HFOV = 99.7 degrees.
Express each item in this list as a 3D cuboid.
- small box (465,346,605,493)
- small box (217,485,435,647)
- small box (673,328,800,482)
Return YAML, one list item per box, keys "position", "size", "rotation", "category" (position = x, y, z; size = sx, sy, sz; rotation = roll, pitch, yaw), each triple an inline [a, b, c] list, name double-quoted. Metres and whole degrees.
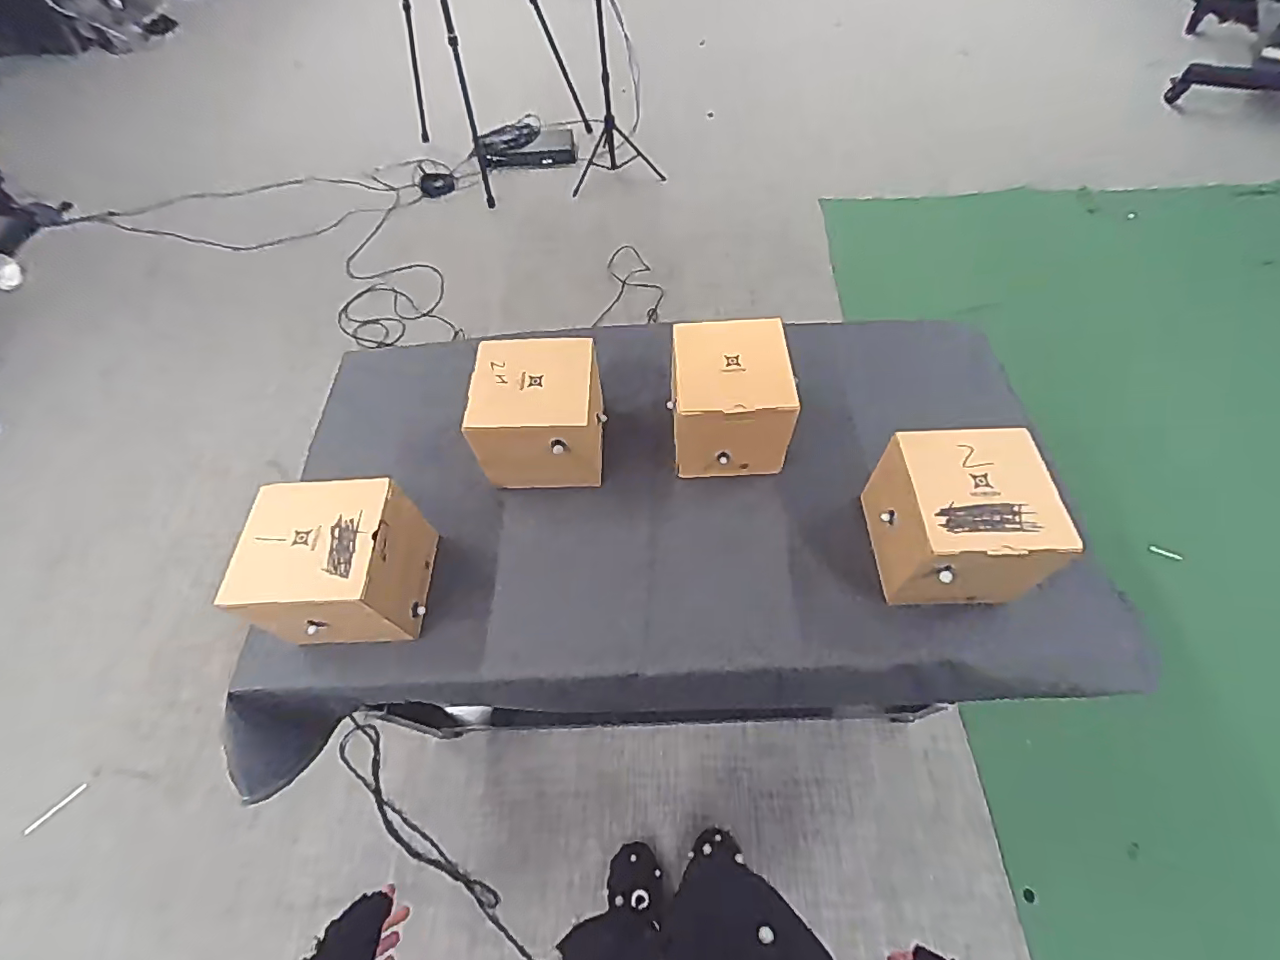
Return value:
- position: [-0.149, -0.090, 0.844]
  size: [0.179, 0.176, 0.168]
  rotation: [-1, 59, 3]
  category: "small box"
- position: [-0.397, 0.120, 0.726]
  size: [0.179, 0.176, 0.168]
  rotation: [-2, 57, 2]
  category: "small box"
- position: [0.139, -0.113, 0.848]
  size: [0.168, 0.176, 0.179]
  rotation: [-2, 59, 1]
  category: "small box"
